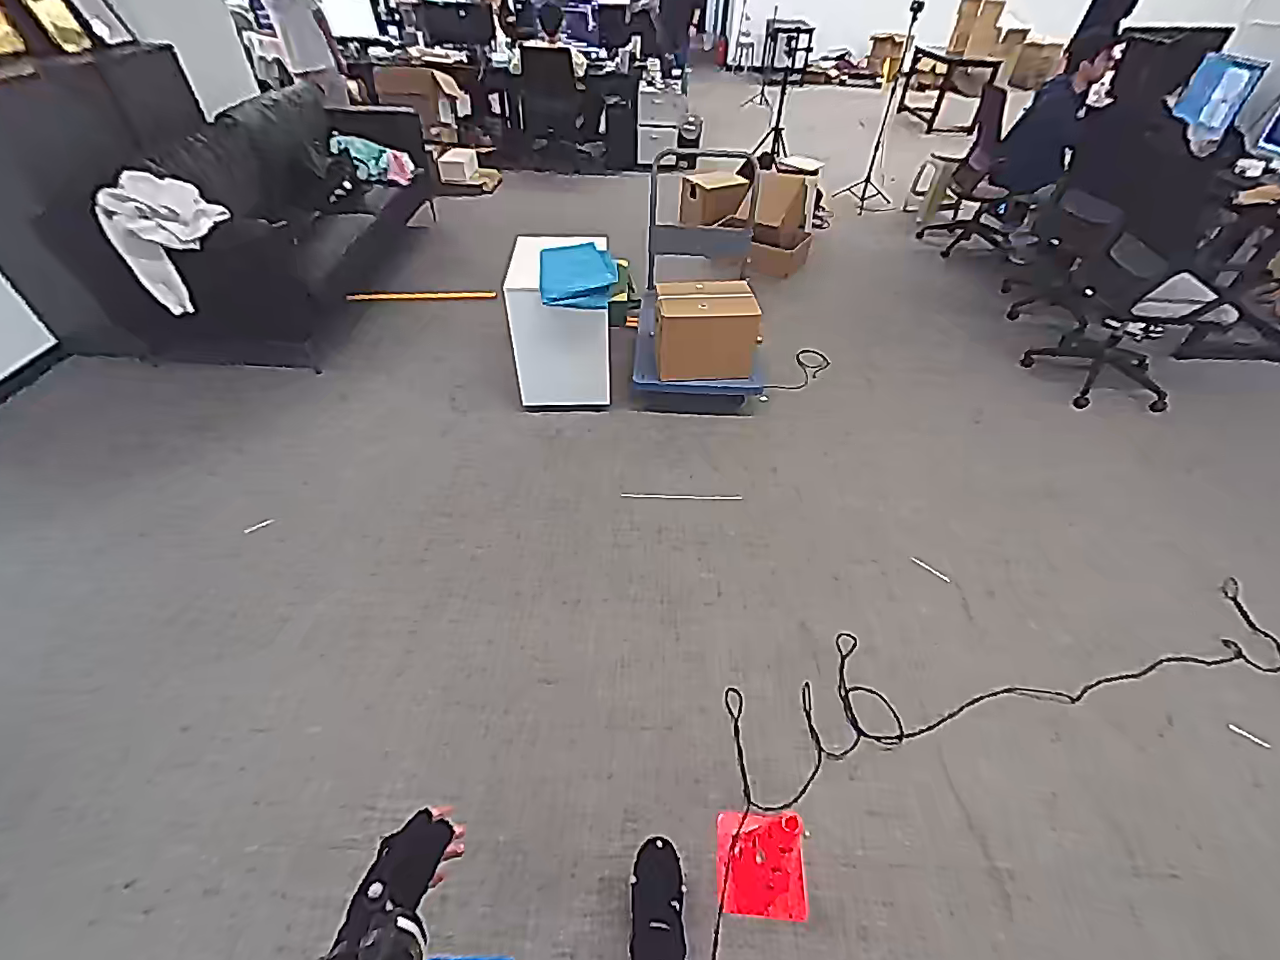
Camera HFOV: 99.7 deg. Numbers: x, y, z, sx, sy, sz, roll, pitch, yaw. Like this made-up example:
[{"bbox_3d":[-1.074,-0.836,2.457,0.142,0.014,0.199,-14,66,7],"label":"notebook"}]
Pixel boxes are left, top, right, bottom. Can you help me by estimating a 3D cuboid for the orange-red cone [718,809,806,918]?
[{"bbox_3d":[0.281,0.767,1.138,0.198,0.360,0.199,5,46,4],"label":"orange-red cone"}]
